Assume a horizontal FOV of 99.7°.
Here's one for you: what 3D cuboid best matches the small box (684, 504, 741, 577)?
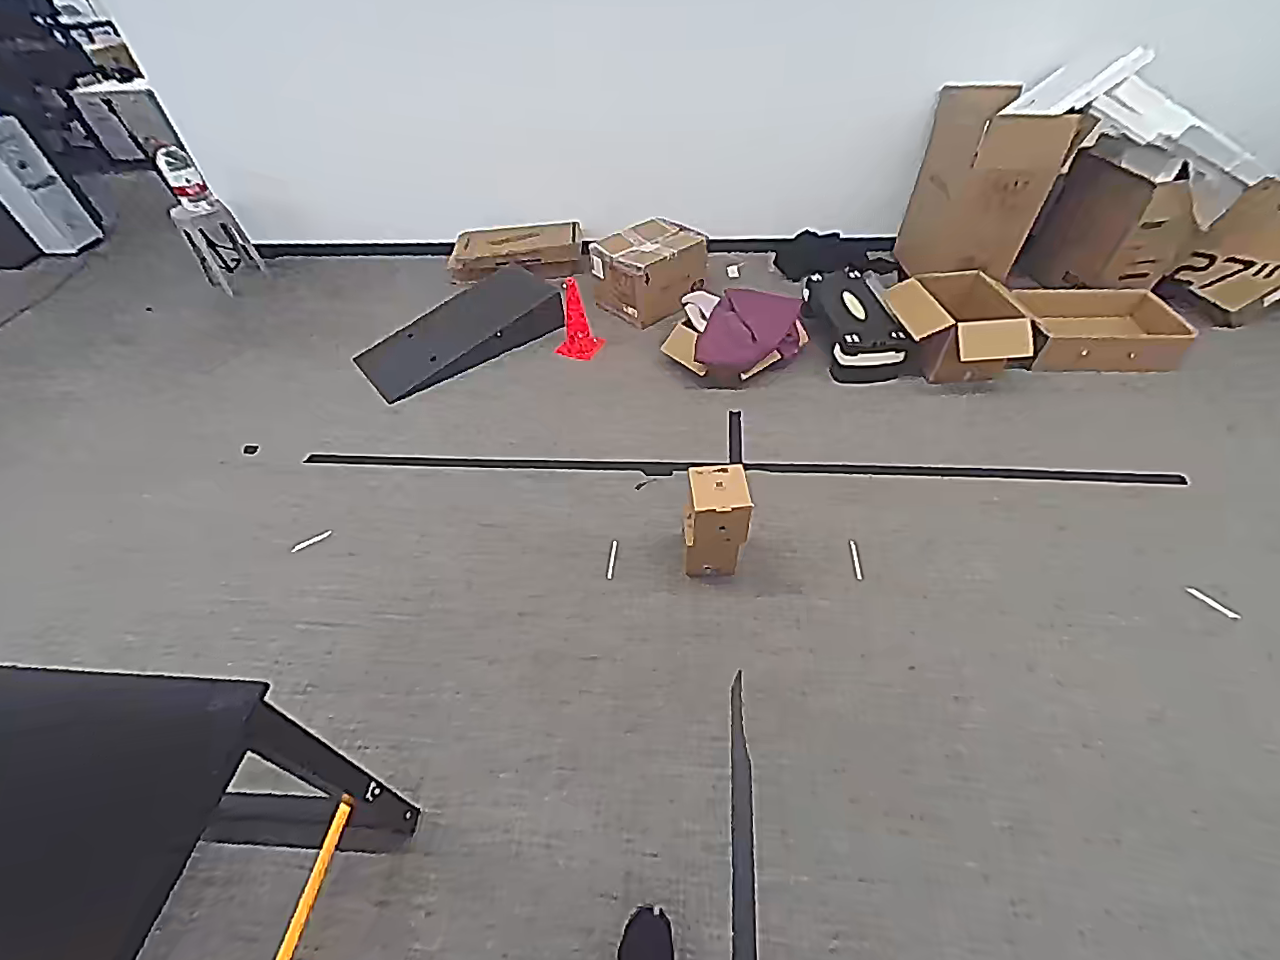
[{"bbox_3d":[0.229,0.194,1.753,0.168,0.176,0.179,-3,47,2],"label":"small box"}]

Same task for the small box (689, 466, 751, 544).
[{"bbox_3d":[0.237,0.082,1.632,0.168,0.176,0.179,-4,47,1],"label":"small box"}]
